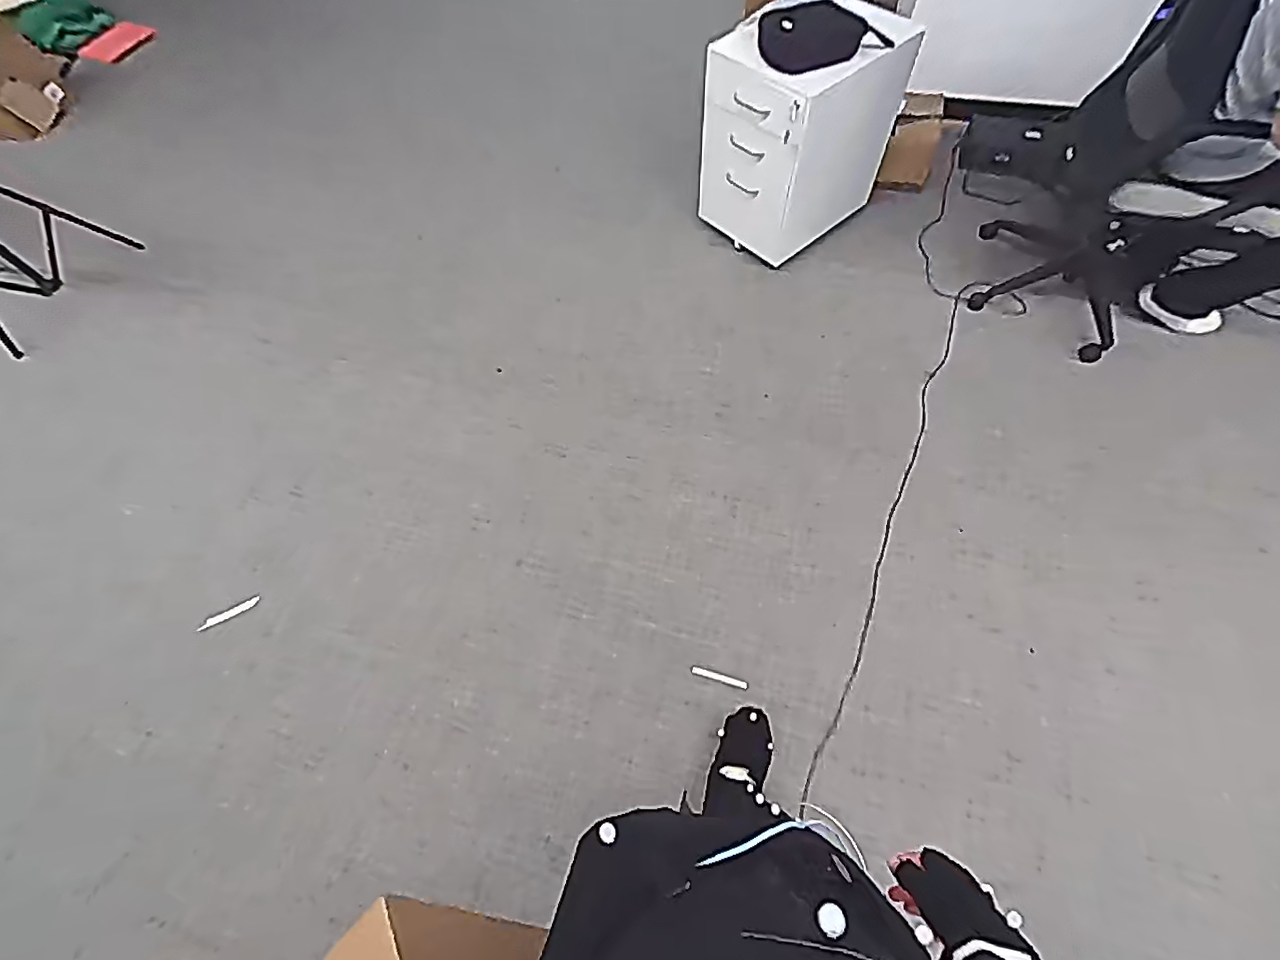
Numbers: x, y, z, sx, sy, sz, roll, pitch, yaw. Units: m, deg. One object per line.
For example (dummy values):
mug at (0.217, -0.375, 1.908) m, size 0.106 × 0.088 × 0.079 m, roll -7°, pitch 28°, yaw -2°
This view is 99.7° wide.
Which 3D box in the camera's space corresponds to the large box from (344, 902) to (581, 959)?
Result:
large box at (-0.217, 0.771, 0.609) m, size 0.320 × 0.408 × 0.320 m, roll -44°, pitch 40°, yaw -13°
